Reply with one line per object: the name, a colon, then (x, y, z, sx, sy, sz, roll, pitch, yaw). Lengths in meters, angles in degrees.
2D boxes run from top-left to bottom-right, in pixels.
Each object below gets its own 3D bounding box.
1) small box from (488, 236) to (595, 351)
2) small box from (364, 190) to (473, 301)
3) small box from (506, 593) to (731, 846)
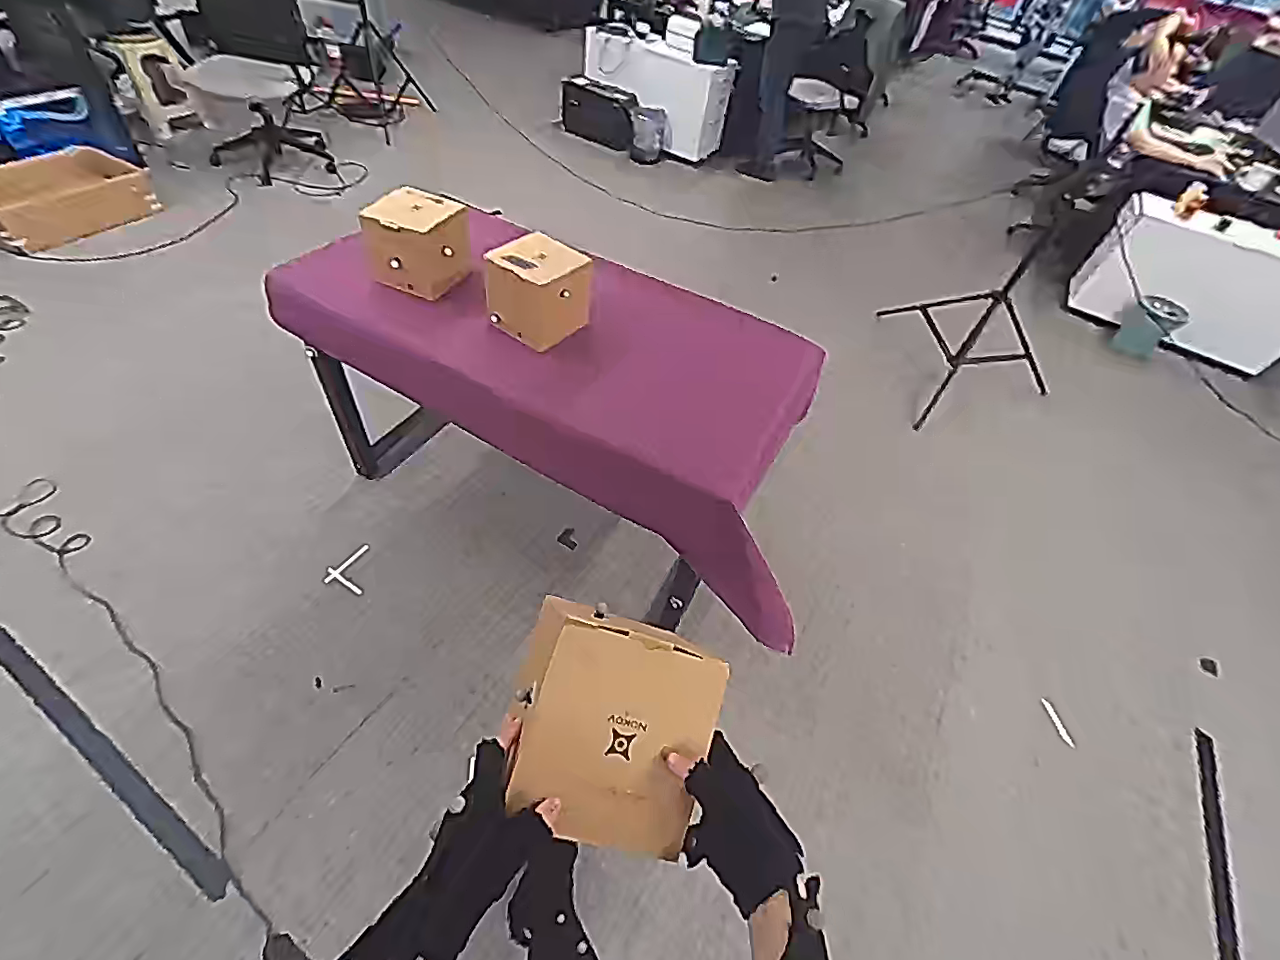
small box: (-0.222, -0.424, 1.238, 0.168, 0.176, 0.179, 33, 51, 17)
small box: (-0.517, -0.559, 1.298, 0.168, 0.176, 0.179, 21, 50, 7)
small box: (-0.034, 0.224, 0.552, 0.168, 0.176, 0.179, 20, 80, -12)
